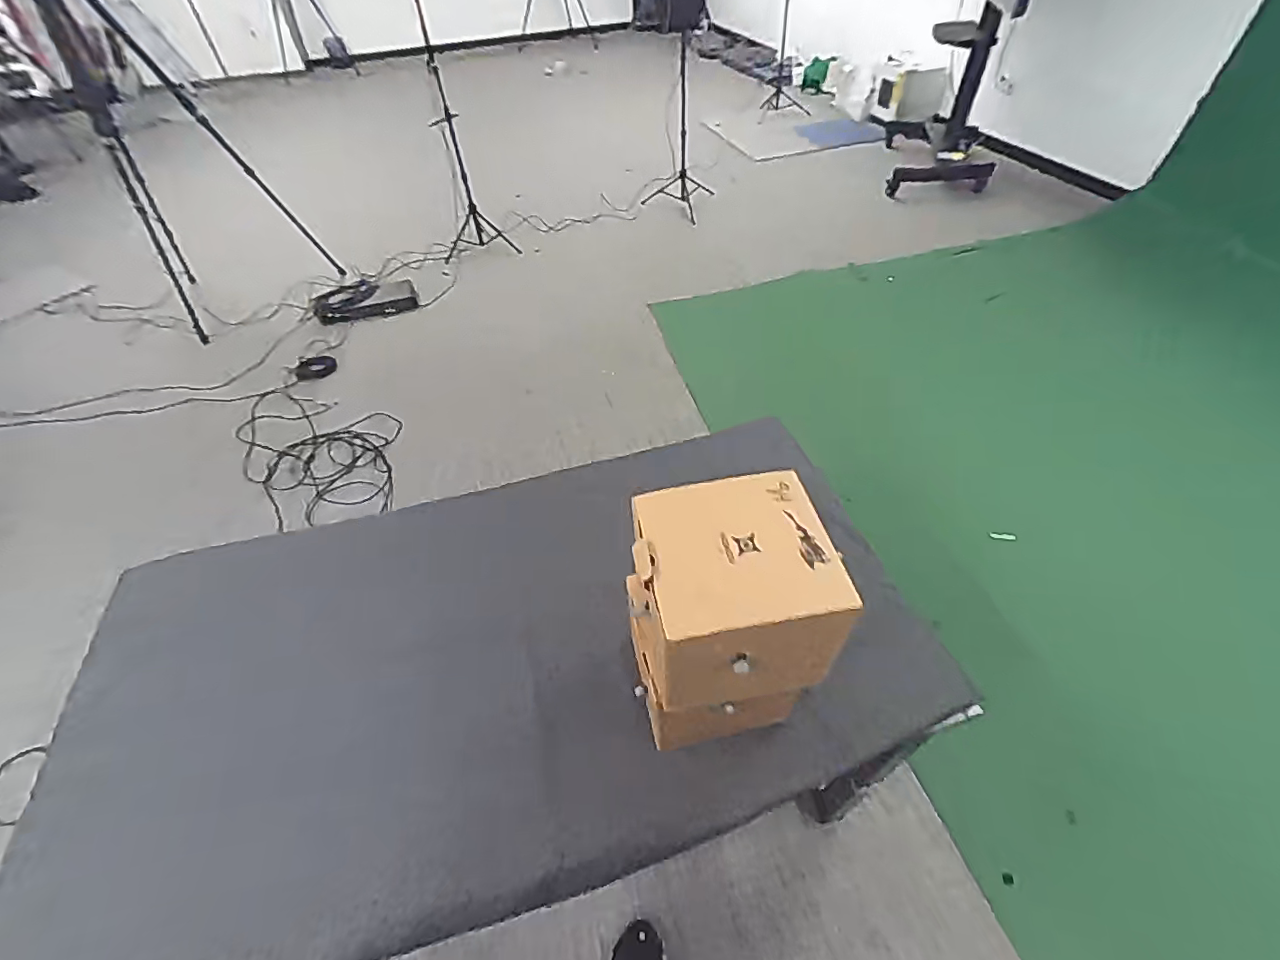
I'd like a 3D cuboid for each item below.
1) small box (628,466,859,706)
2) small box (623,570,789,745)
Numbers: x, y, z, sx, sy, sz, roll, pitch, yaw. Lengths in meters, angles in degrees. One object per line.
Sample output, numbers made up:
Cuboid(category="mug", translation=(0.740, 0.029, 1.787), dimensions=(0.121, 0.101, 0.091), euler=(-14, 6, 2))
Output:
Cuboid(category="small box", translation=(0.091, 0.112, 0.554), dimensions=(0.179, 0.176, 0.168), euler=(-9, 48, -4))
Cuboid(category="small box", translation=(0.083, 0.213, 0.684), dimensions=(0.179, 0.176, 0.168), euler=(-11, 48, -7))
